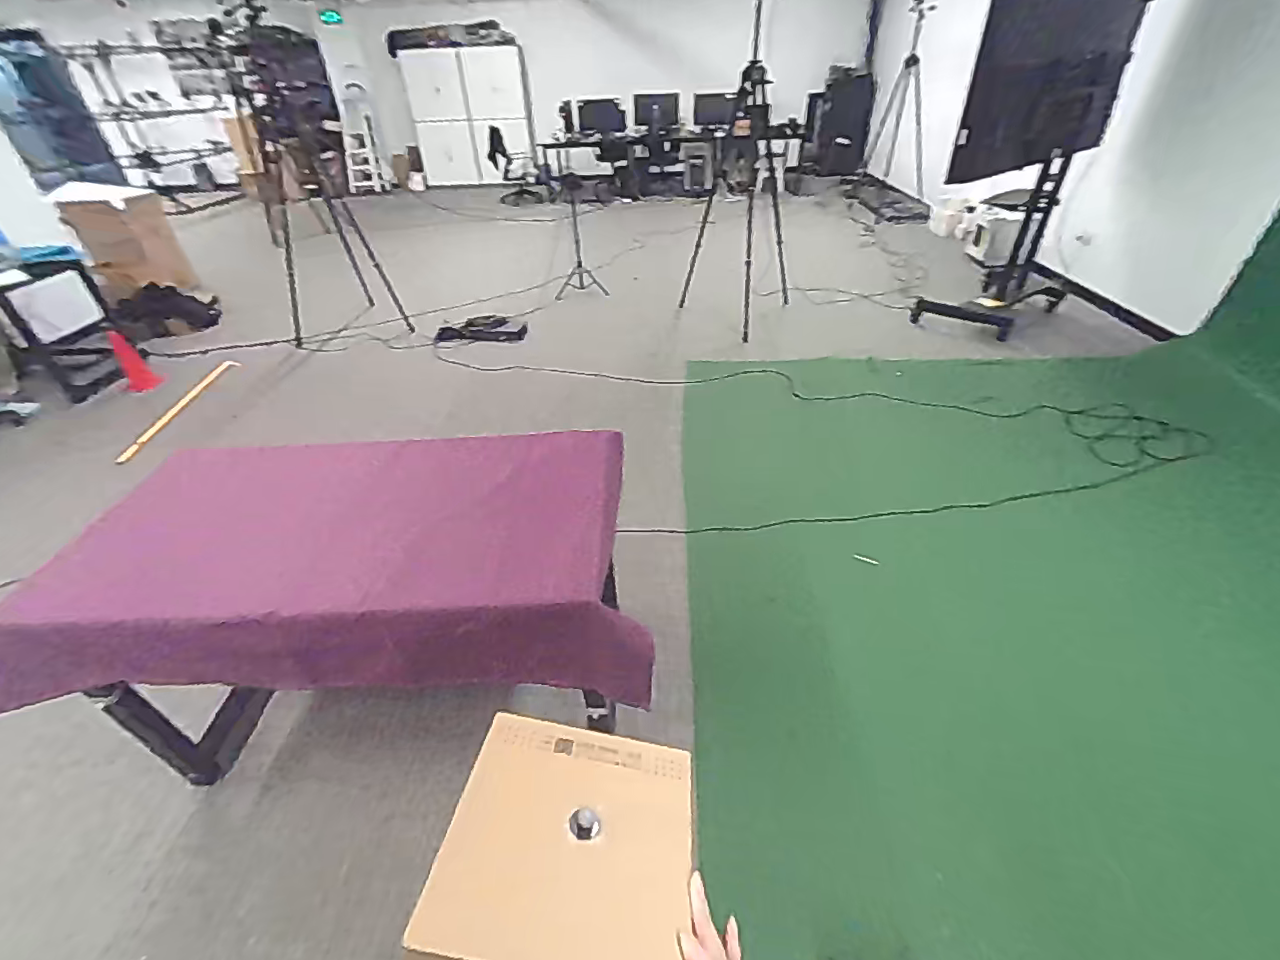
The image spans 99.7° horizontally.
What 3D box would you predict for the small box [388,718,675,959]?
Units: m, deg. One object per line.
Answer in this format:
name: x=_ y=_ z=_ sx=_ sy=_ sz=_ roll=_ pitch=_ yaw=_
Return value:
small box: x=-0.072 y=0.314 z=0.408 sx=0.168 sy=0.179 sz=0.176 roll=12 pitch=24 yaw=0
